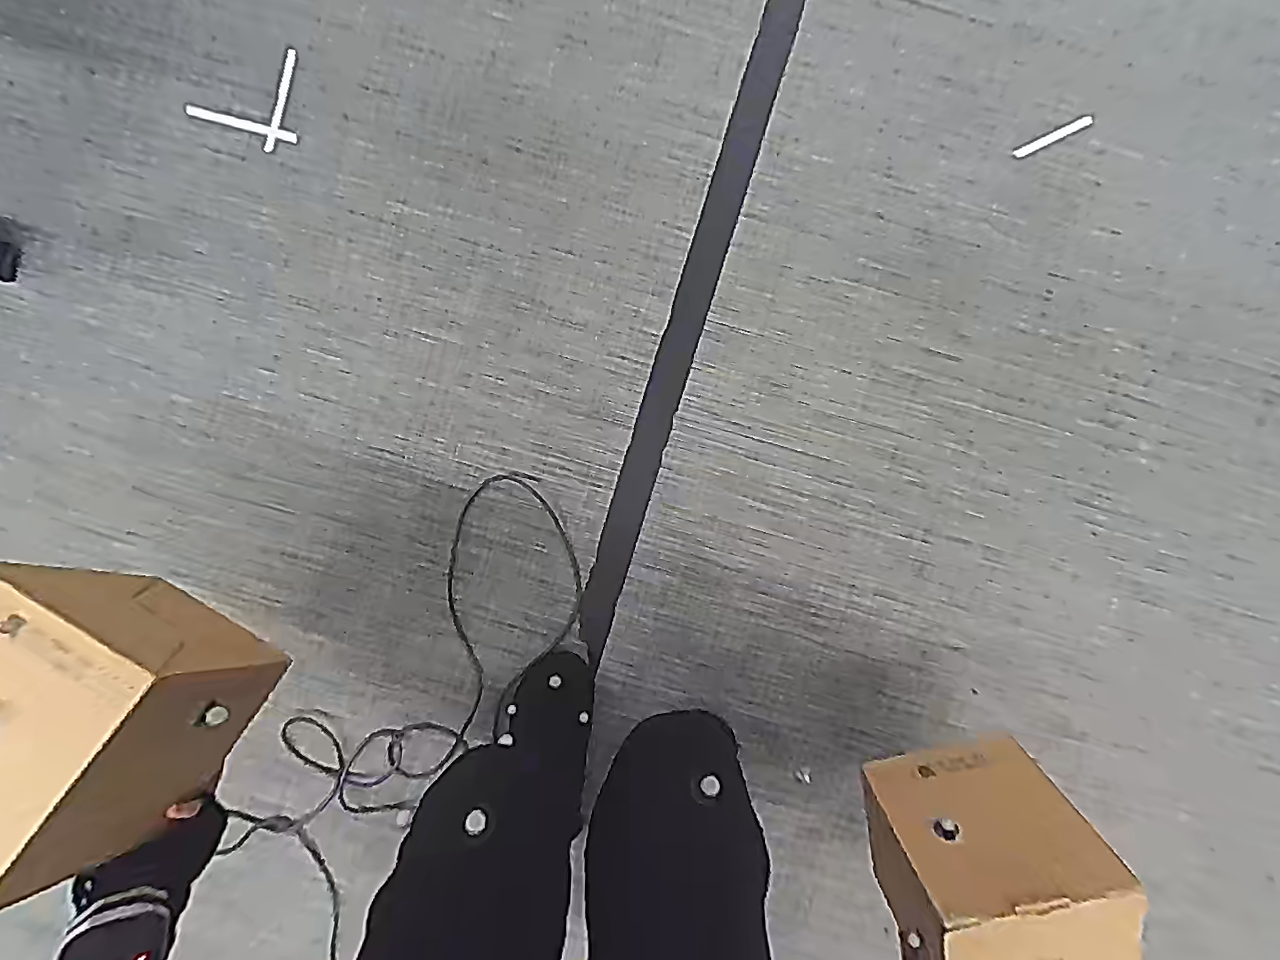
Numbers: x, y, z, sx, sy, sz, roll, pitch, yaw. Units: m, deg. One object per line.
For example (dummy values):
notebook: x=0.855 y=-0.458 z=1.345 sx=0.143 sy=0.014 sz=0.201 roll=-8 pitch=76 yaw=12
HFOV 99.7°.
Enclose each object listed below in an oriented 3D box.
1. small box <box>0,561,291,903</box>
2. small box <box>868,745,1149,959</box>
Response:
small box: x=-0.438 y=0.178 z=0.433 sx=0.168 sy=0.179 sz=0.176 roll=30 pitch=74 yaw=4
small box: x=0.344 y=0.393 z=0.538 sx=0.168 sy=0.176 sz=0.179 roll=-13 pitch=109 yaw=3
